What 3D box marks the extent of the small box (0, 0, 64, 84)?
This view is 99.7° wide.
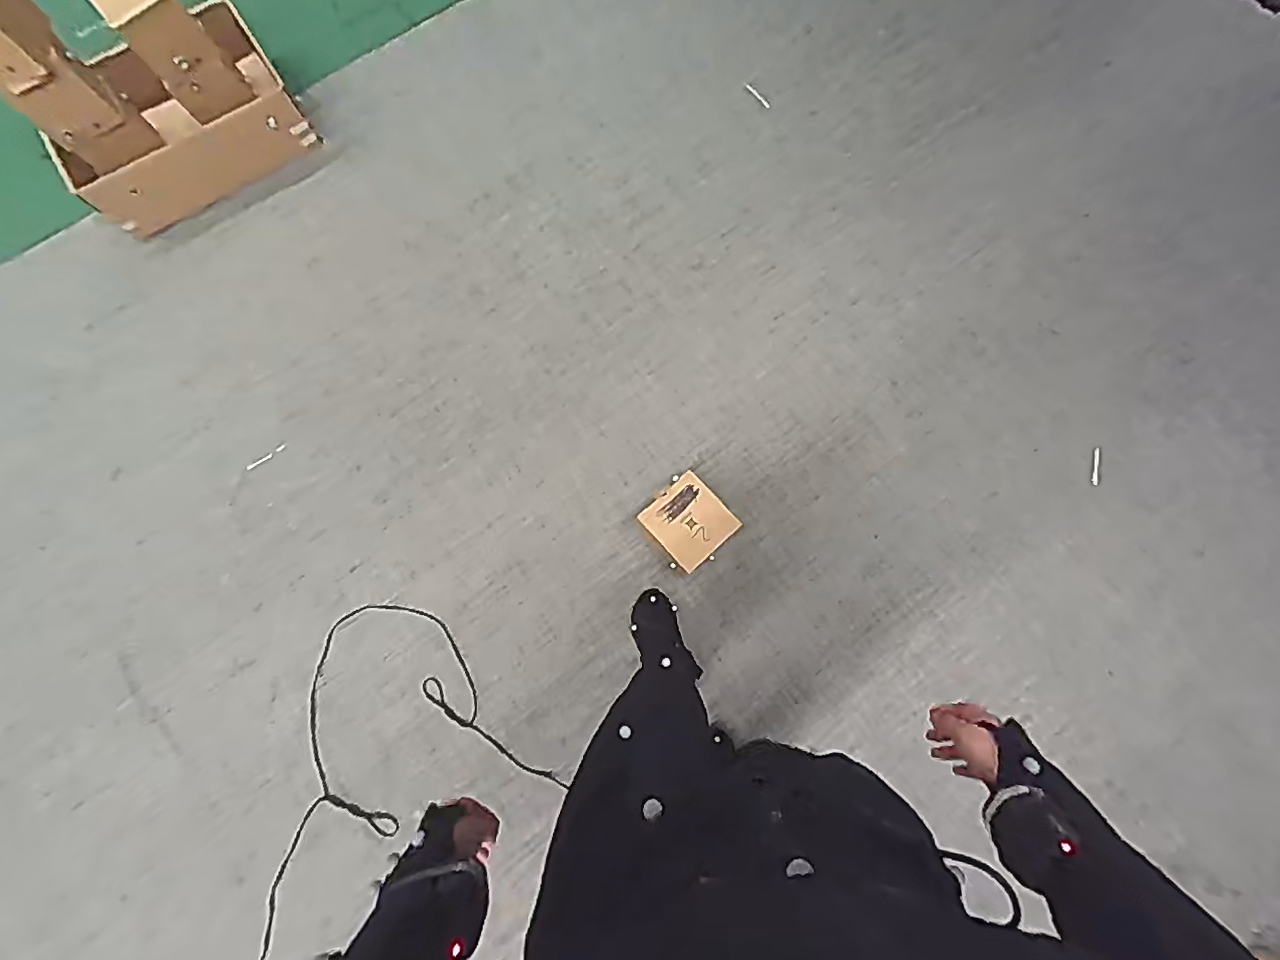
[{"bbox_3d":[-1.442,-1.018,1.197,0.168,0.176,0.179,-13,76,-2],"label":"small box"}]

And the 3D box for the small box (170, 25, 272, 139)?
[{"bbox_3d":[-1.216,-1.139,1.558,0.168,0.176,0.179,-30,79,-5],"label":"small box"}]

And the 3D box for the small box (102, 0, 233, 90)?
[{"bbox_3d":[-1.220,-1.171,1.398,0.168,0.176,0.179,-40,82,-5],"label":"small box"}]

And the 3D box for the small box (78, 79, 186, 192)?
[{"bbox_3d":[-1.445,-0.960,1.519,0.168,0.176,0.179,-36,79,-7],"label":"small box"}]

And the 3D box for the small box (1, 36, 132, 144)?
[{"bbox_3d":[-1.446,-0.986,1.356,0.168,0.176,0.179,-34,78,-7],"label":"small box"}]
